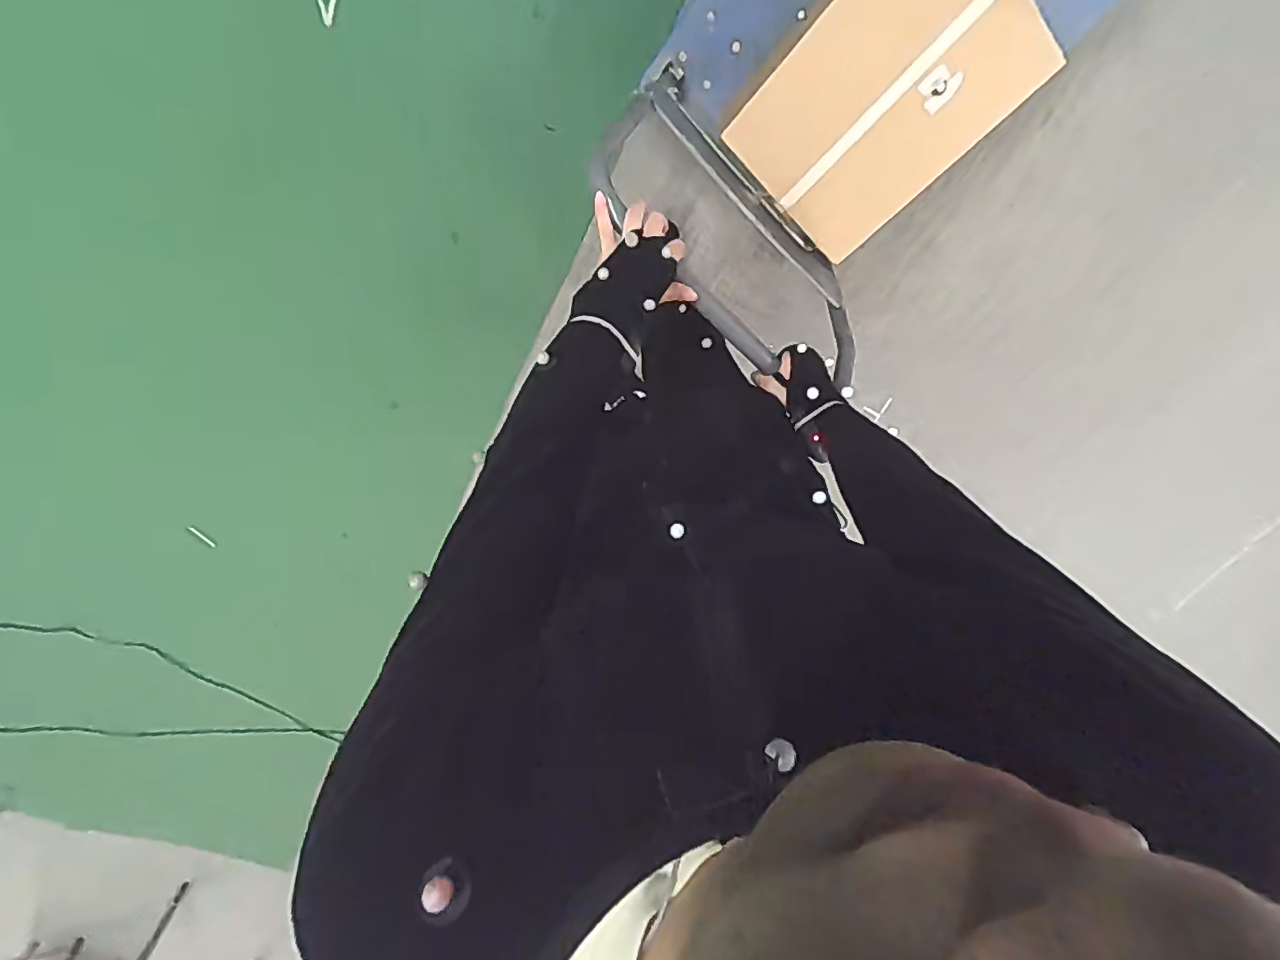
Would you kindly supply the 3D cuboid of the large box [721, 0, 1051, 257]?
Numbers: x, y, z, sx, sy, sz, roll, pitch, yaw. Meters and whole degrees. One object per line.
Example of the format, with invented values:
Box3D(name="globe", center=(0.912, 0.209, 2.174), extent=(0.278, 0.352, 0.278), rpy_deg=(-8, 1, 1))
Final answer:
Box3D(name="large box", center=(0.395, -0.700, 0.978), extent=(0.320, 0.320, 0.408), rpy_deg=(38, 125, -20))
